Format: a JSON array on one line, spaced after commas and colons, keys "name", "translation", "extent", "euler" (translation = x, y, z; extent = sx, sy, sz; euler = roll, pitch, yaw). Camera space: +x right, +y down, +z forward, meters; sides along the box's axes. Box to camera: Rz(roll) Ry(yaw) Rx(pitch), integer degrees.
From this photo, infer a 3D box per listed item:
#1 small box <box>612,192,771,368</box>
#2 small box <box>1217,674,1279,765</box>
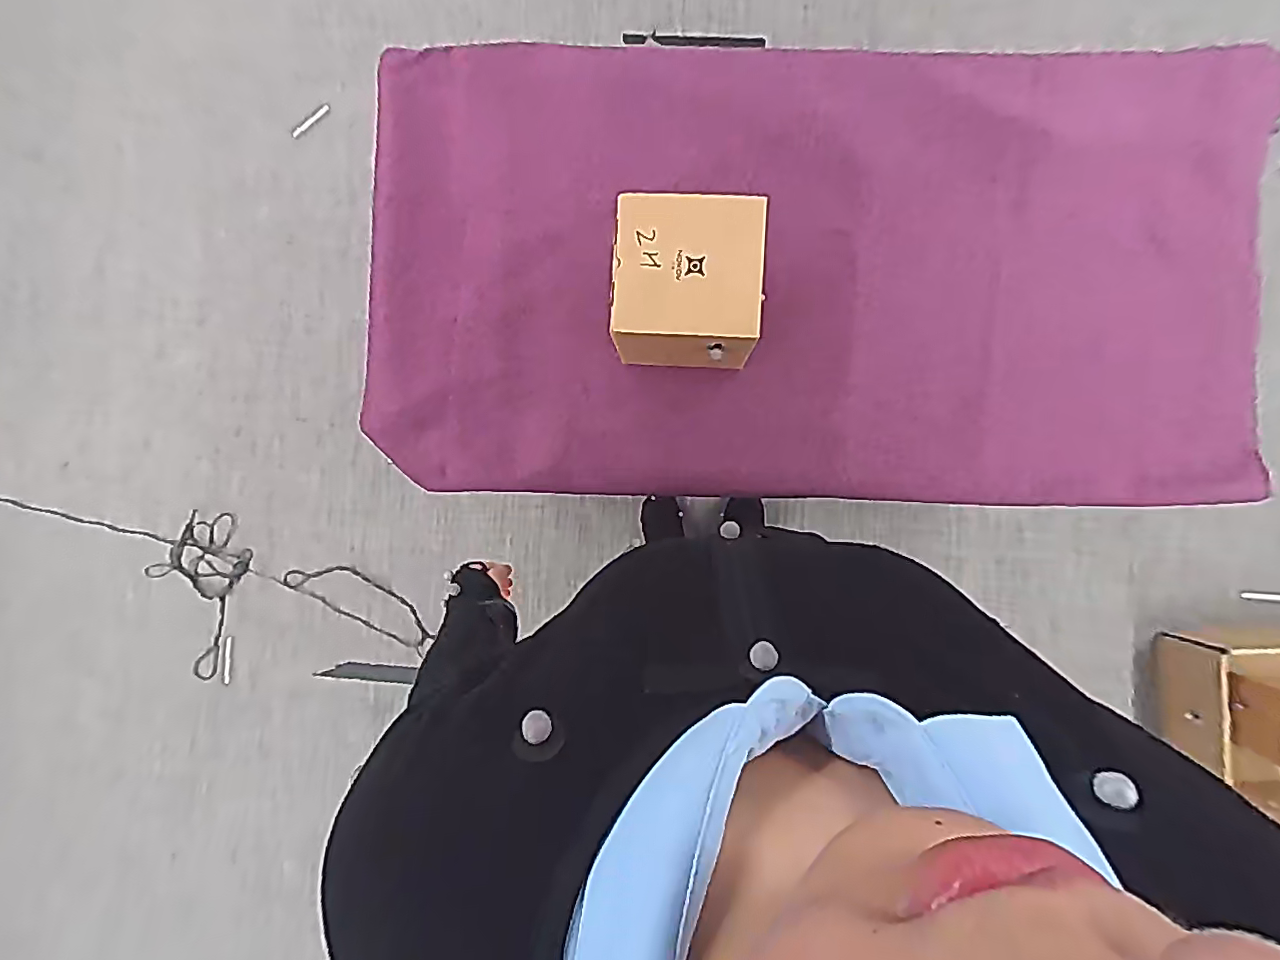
[{"name": "small box", "translation": [0.064, -0.247, 0.702], "extent": [0.179, 0.176, 0.168], "euler": [3, 89, 4]}, {"name": "small box", "translation": [1.542, 0.574, 1.271], "extent": [0.179, 0.176, 0.168], "euler": [8, 92, 4]}]
